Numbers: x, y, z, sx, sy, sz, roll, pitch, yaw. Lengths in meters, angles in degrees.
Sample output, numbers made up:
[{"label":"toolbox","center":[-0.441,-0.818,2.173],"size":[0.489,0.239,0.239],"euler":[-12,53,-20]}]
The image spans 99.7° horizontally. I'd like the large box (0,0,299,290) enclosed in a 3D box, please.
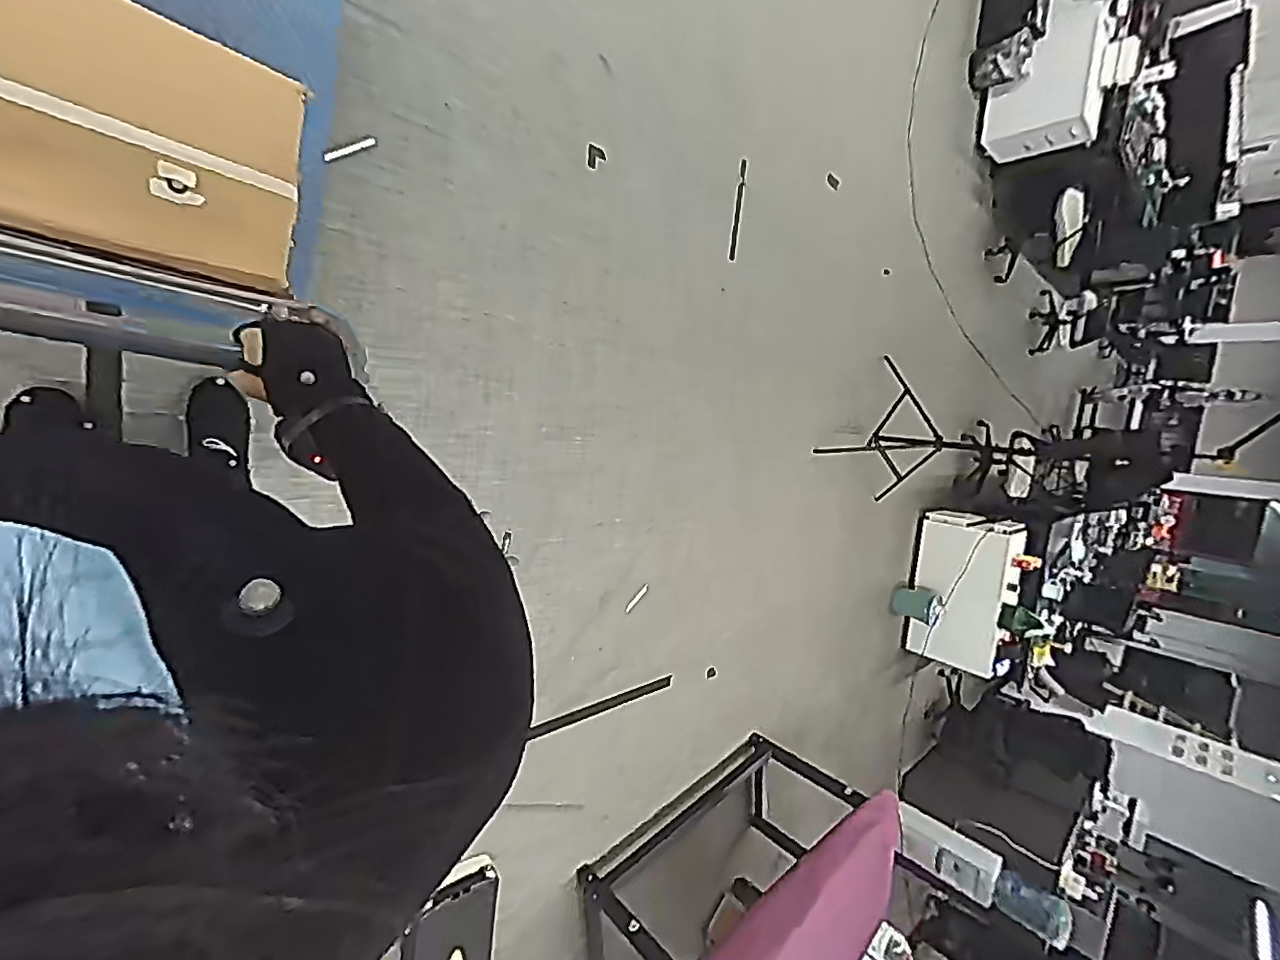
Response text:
[{"label":"large box","center":[-0.793,-0.499,0.813],"size":[0.408,0.320,0.320],"euler":[5,101,-44]}]
